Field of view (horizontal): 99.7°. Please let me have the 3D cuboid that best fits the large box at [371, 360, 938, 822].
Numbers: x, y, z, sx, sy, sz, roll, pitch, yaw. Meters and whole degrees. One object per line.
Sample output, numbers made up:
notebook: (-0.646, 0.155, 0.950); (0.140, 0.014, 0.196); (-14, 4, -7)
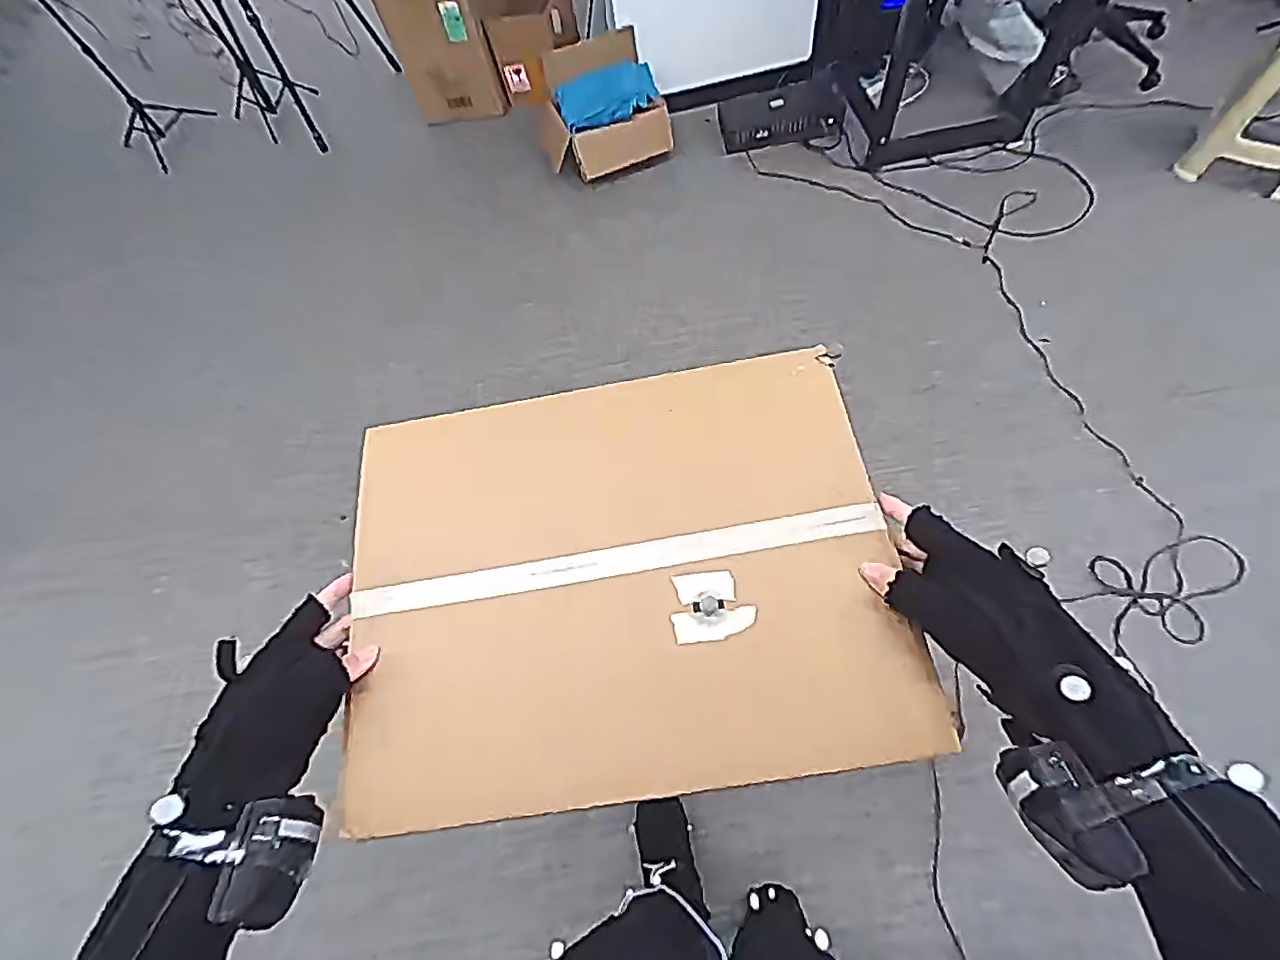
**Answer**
large box: (-0.001, 0.123, 0.563); (0.408, 0.320, 0.320); (-10, 67, 2)
